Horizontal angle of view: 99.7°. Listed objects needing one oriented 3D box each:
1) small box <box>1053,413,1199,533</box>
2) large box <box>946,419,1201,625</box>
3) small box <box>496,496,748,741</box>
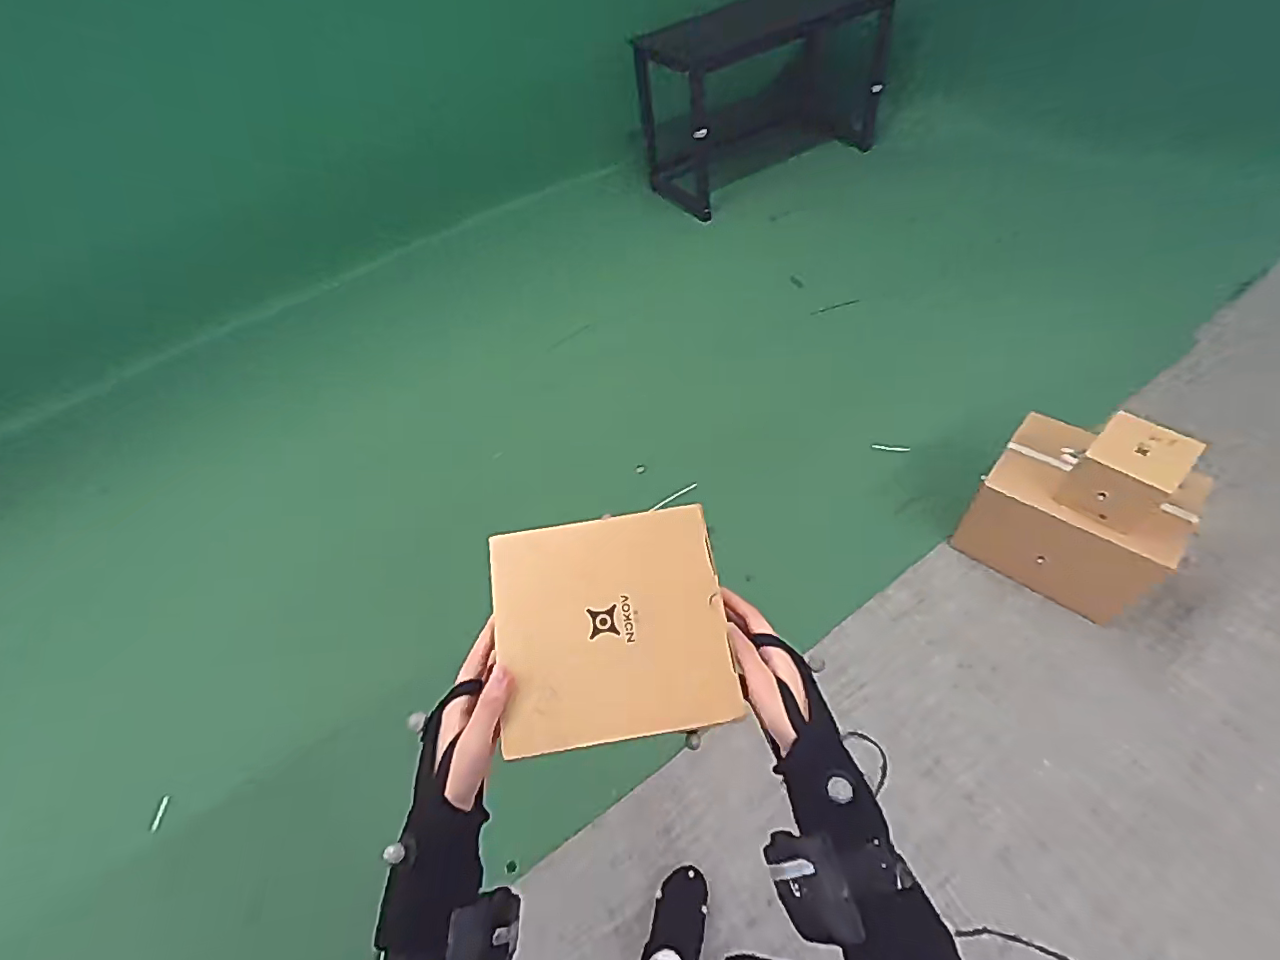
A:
[{"bbox_3d":[1.085,-0.011,1.227,0.179,0.176,0.168,-39,57,-19],"label":"small box"},{"bbox_3d":[1.122,0.109,1.443,0.408,0.320,0.320,32,62,31],"label":"large box"},{"bbox_3d":[-0.018,0.130,0.478,0.179,0.176,0.168,-8,66,-3],"label":"small box"}]
